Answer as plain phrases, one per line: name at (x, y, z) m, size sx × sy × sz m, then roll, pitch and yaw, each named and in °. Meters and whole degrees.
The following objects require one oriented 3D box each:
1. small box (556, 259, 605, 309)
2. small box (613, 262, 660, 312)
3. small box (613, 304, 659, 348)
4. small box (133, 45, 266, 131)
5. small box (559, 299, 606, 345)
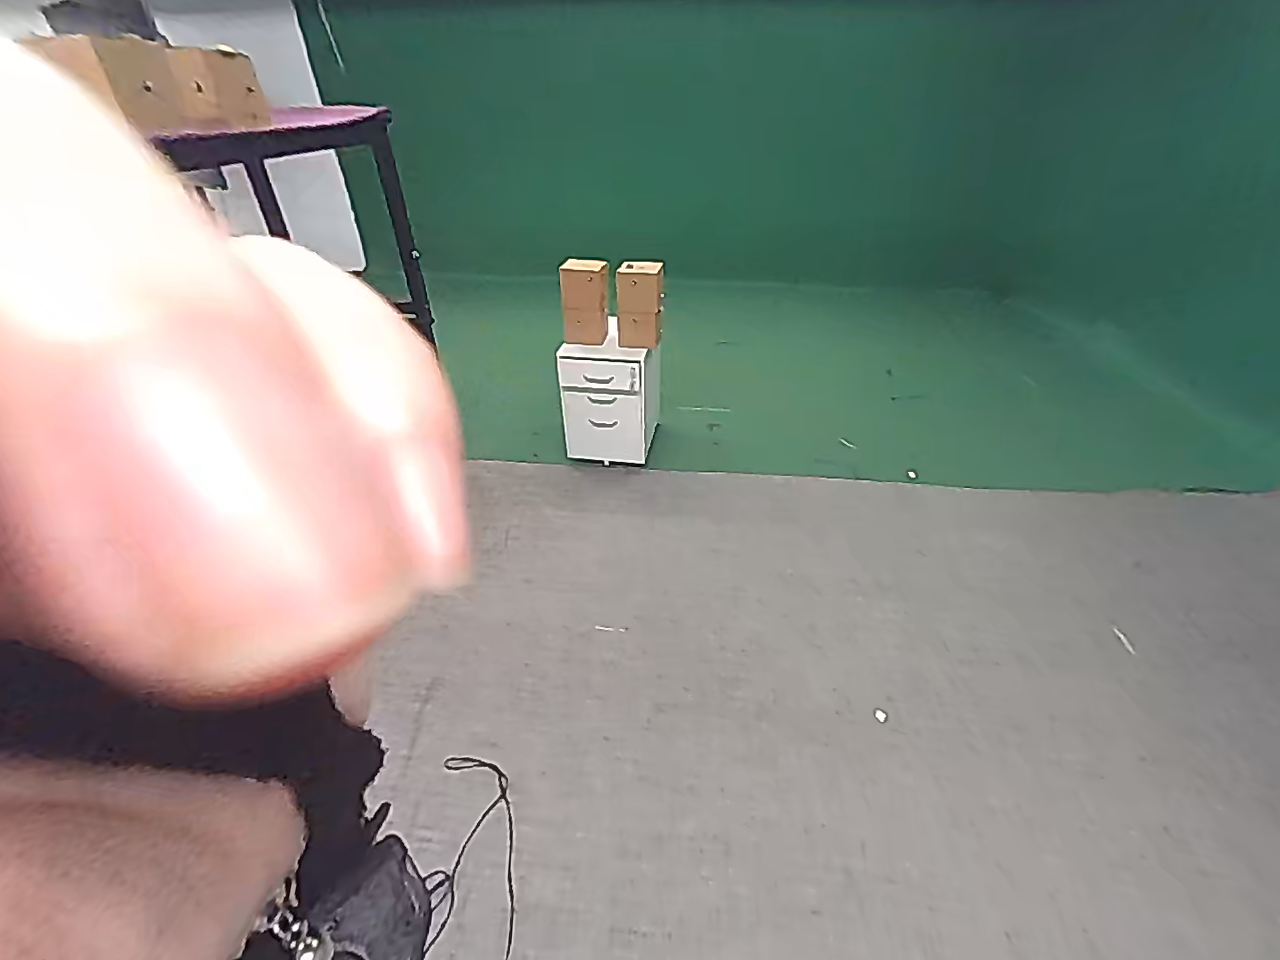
small box at (-0.258, -0.862, 2.380) m, size 0.179 × 0.176 × 0.168 m, roll 7°, pitch 36°, yaw 7°
small box at (-0.011, -0.832, 2.329) m, size 0.179 × 0.176 × 0.168 m, roll 6°, pitch 37°, yaw 10°
small box at (-0.014, -0.702, 2.430) m, size 0.179 × 0.176 × 0.168 m, roll 6°, pitch 37°, yaw 10°
small box at (-1.117, -1.007, 1.391) m, size 0.179 × 0.176 × 0.168 m, roll 3°, pitch 35°, yaw 6°
small box at (-0.259, -0.729, 2.474) m, size 0.179 × 0.176 × 0.168 m, roll 5°, pitch 36°, yaw 7°
